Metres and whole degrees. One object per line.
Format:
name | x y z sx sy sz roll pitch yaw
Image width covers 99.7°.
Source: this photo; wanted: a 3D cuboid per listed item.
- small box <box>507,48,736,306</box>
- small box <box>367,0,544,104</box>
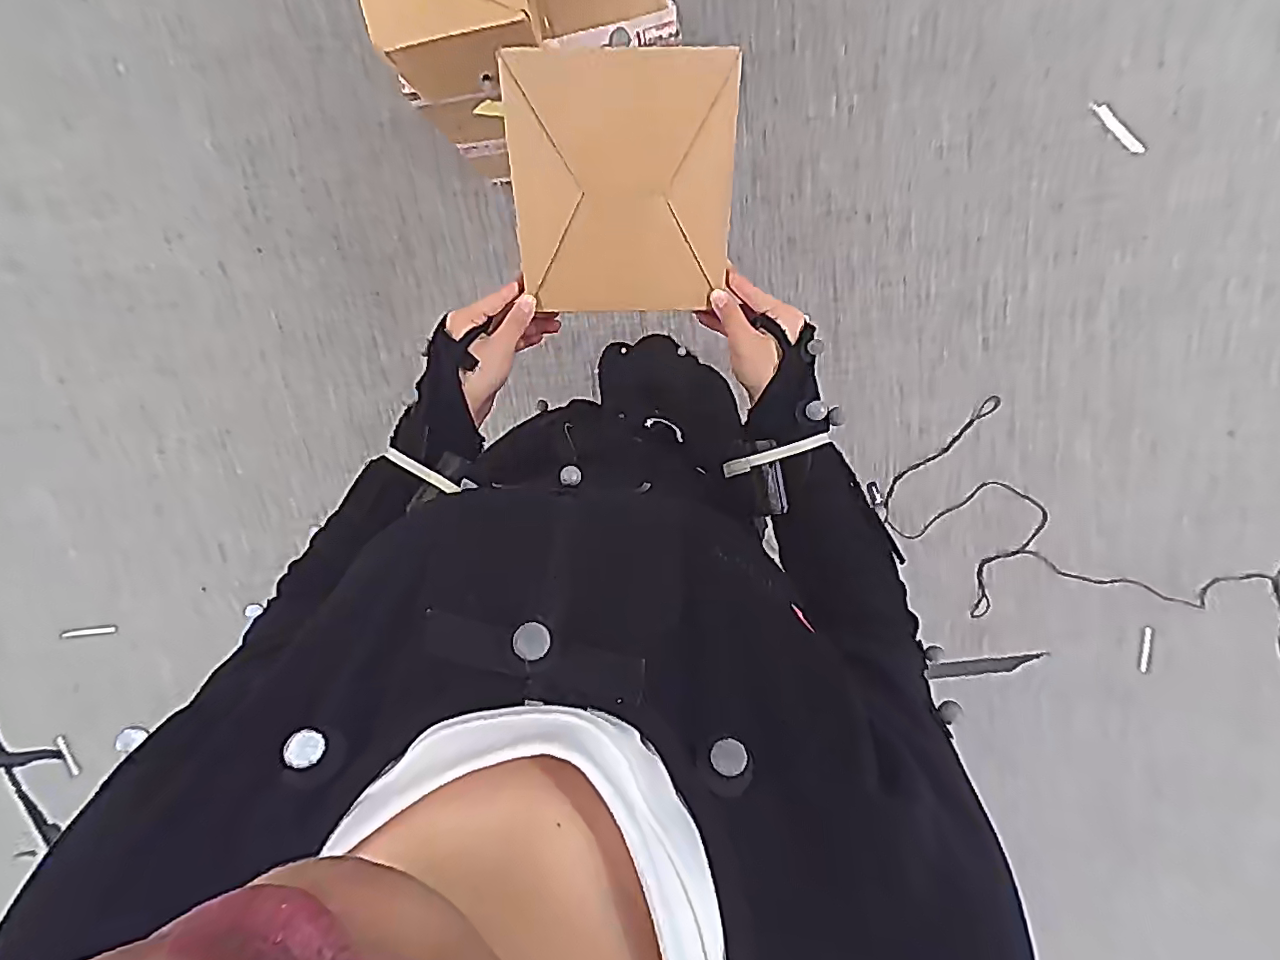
small box | -0.015 -0.261 0.480 0.168 0.176 0.179 -1 123 -2
small box | -0.223 -0.585 0.642 0.179 0.176 0.168 -10 108 3
